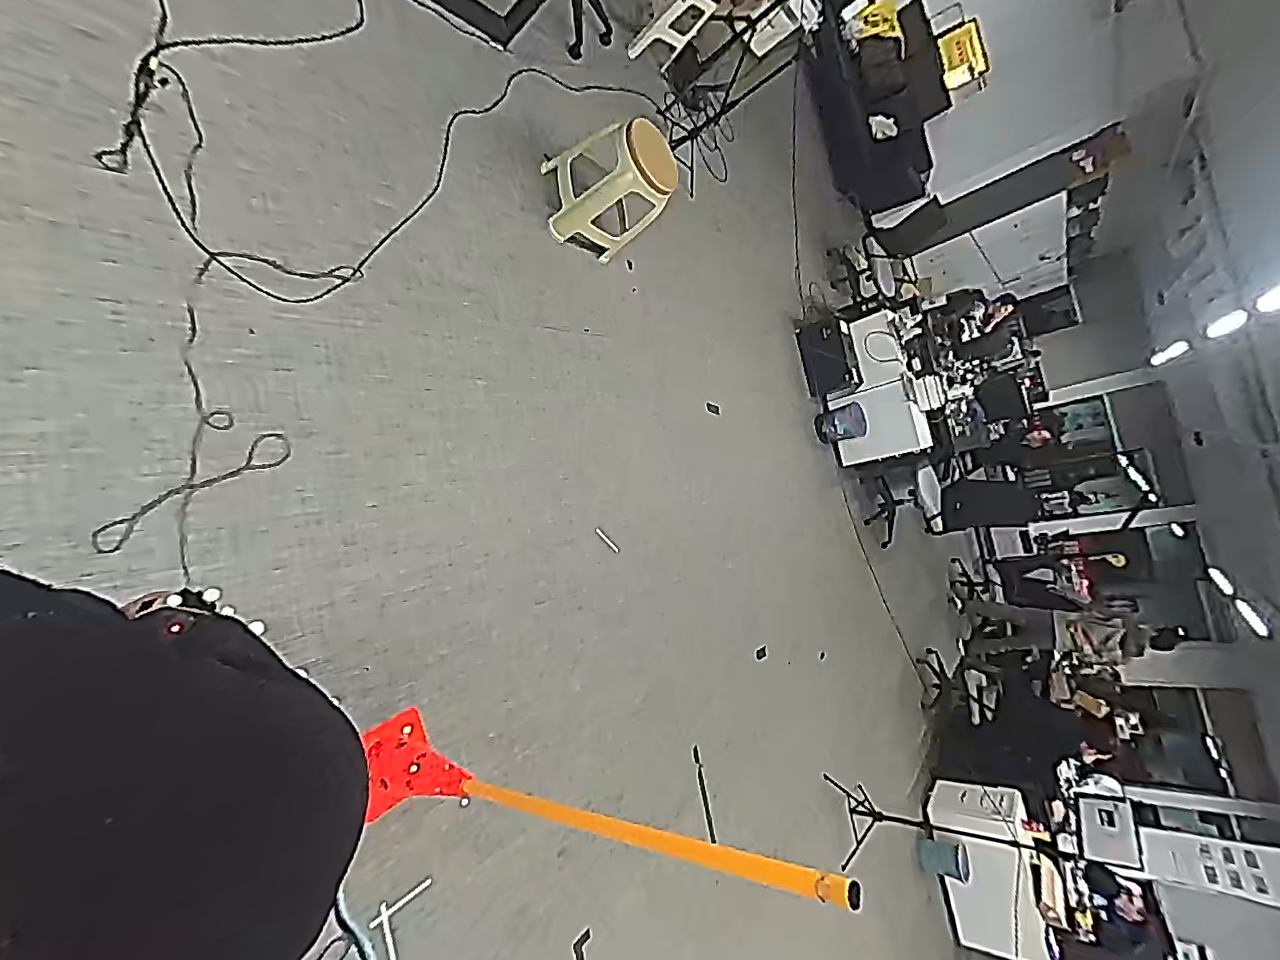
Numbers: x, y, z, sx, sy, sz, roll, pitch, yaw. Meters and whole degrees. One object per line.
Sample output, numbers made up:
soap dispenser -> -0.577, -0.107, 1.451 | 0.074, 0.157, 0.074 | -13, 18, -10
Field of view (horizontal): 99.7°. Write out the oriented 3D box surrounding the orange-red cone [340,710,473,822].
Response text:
orange-red cone -> -0.488, 0.661, 1.215 | 0.199, 0.360, 0.198 | -17, 91, -50
